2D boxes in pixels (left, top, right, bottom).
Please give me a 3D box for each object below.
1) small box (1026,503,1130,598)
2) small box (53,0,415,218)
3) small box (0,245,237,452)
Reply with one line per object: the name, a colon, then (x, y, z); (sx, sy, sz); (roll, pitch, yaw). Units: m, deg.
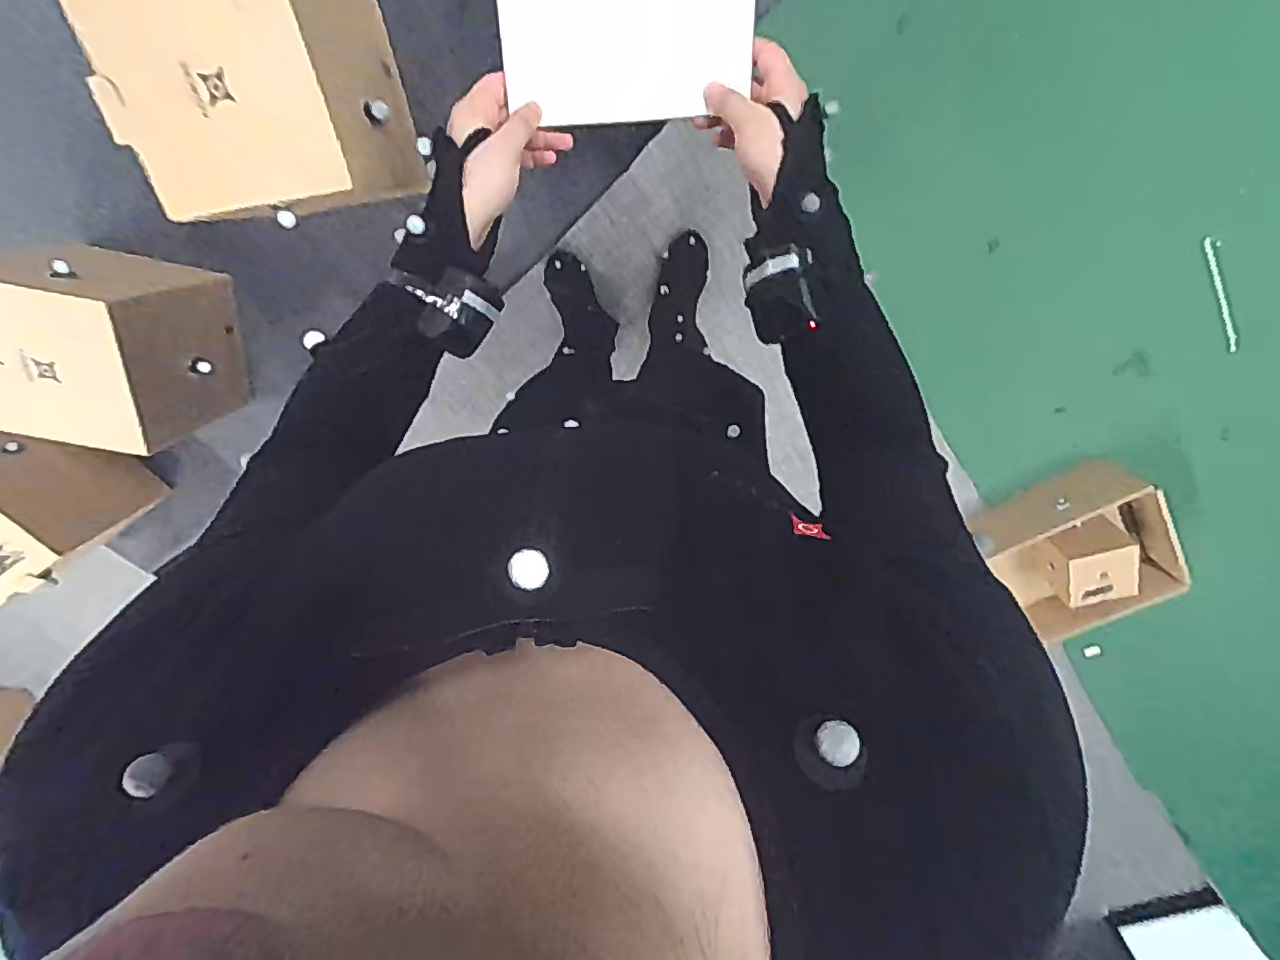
small box: (1.211, 0.194, 1.509); (0.168, 0.176, 0.179); (-18, 118, 13)
small box: (-0.326, -0.341, 0.481); (0.179, 0.176, 0.168); (-6, 119, 7)
small box: (-0.589, -0.153, 0.600); (0.179, 0.176, 0.168); (11, 119, -3)
